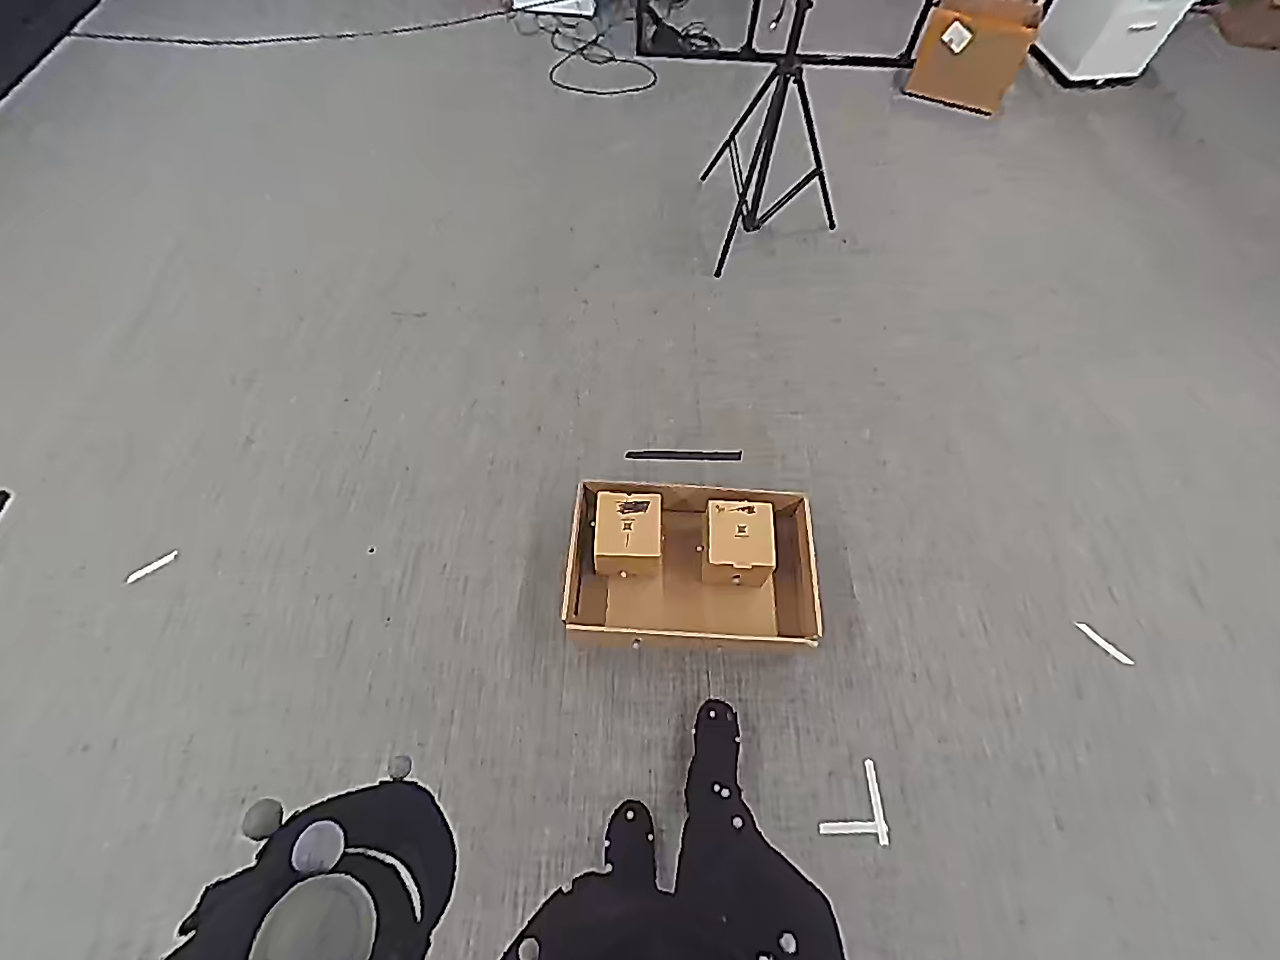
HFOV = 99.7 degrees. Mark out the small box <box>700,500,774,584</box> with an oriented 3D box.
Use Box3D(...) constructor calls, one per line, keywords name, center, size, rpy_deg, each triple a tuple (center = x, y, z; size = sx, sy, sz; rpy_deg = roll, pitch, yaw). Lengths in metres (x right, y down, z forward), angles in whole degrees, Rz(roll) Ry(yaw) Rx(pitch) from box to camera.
Box3D(name="small box", center=(0.252, 0.169, 1.427), size=(0.168, 0.176, 0.179), rpy_deg=(4, 63, 0))
